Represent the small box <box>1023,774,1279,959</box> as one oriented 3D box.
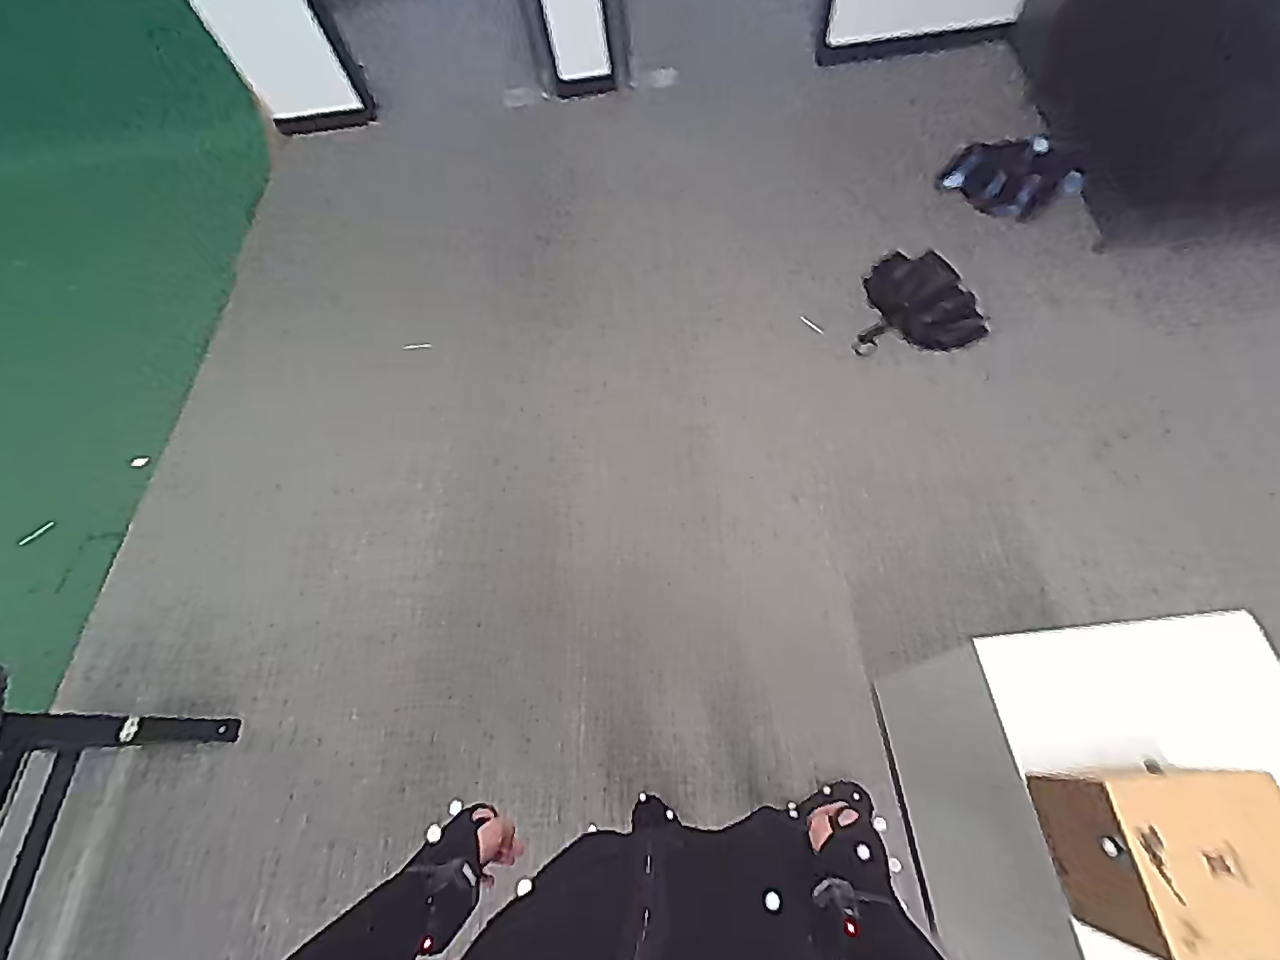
[{"bbox_3d":[0.600,0.440,0.625,0.179,0.176,0.168,-5,63,2],"label":"small box"}]
